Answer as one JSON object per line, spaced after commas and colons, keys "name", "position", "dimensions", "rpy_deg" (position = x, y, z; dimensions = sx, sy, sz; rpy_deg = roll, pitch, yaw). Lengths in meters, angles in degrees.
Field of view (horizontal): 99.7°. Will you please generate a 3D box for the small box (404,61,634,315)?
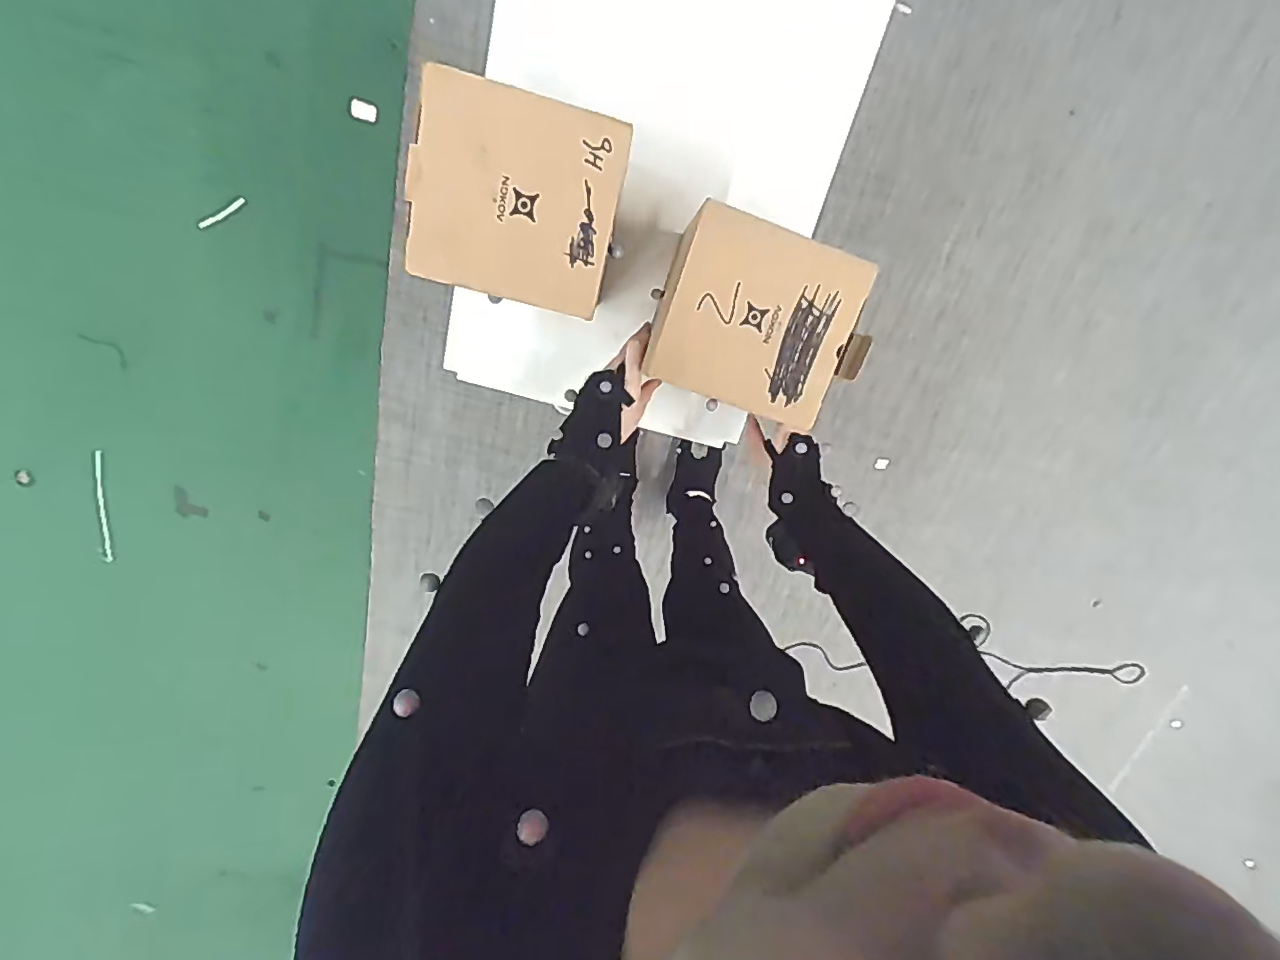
{"name": "small box", "position": [-0.113, -0.273, 0.546], "dimensions": [0.179, 0.176, 0.168], "rpy_deg": [13, 109, -8]}
